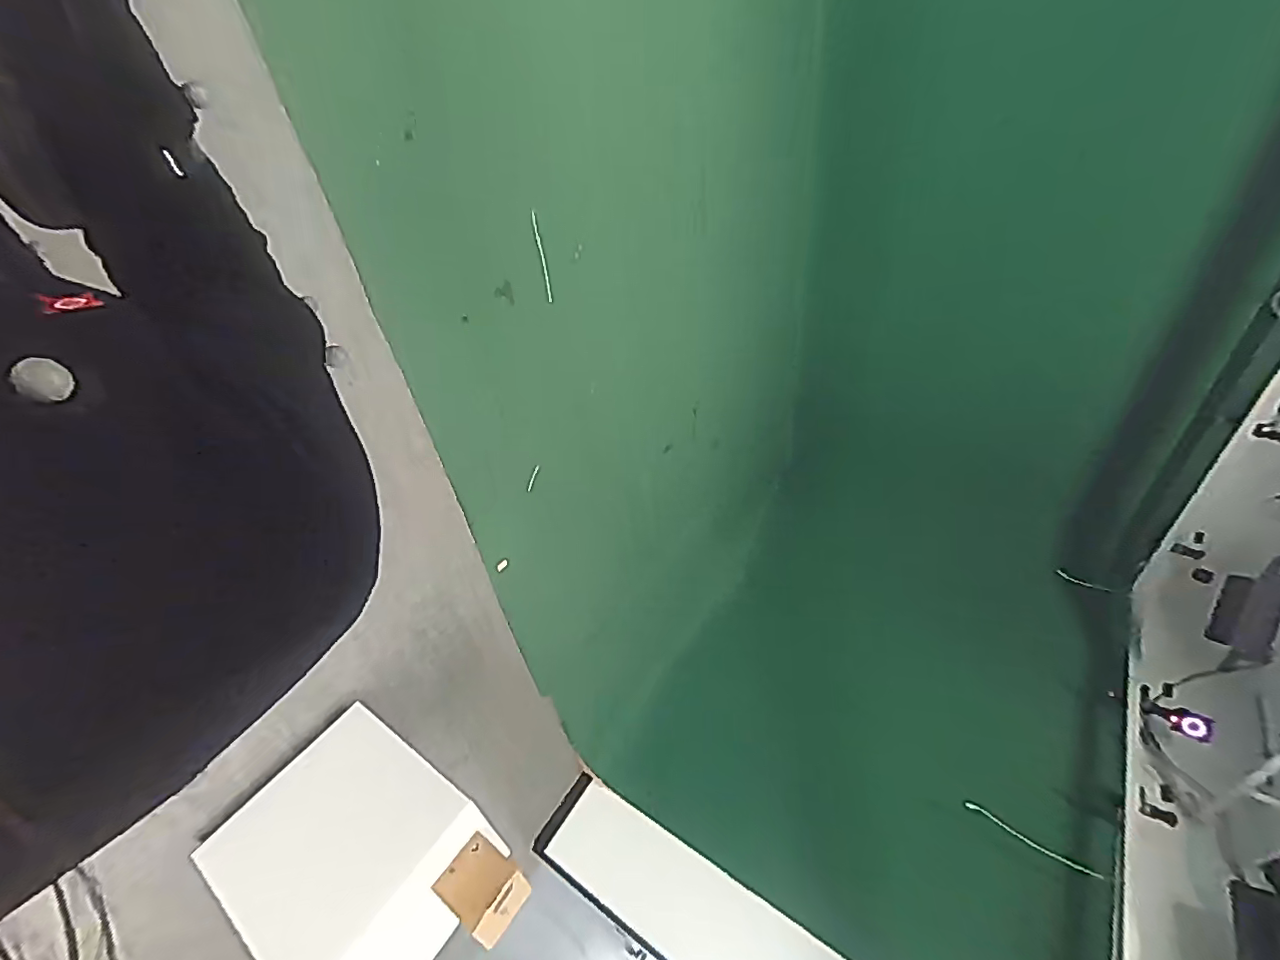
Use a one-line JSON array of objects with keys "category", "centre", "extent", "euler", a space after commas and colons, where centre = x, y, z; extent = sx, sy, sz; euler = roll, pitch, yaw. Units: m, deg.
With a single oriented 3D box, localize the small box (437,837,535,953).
[{"category": "small box", "centre": [-0.417, 1.113, 1.463], "extent": [0.168, 0.176, 0.179], "euler": [-43, 140, -37]}]
